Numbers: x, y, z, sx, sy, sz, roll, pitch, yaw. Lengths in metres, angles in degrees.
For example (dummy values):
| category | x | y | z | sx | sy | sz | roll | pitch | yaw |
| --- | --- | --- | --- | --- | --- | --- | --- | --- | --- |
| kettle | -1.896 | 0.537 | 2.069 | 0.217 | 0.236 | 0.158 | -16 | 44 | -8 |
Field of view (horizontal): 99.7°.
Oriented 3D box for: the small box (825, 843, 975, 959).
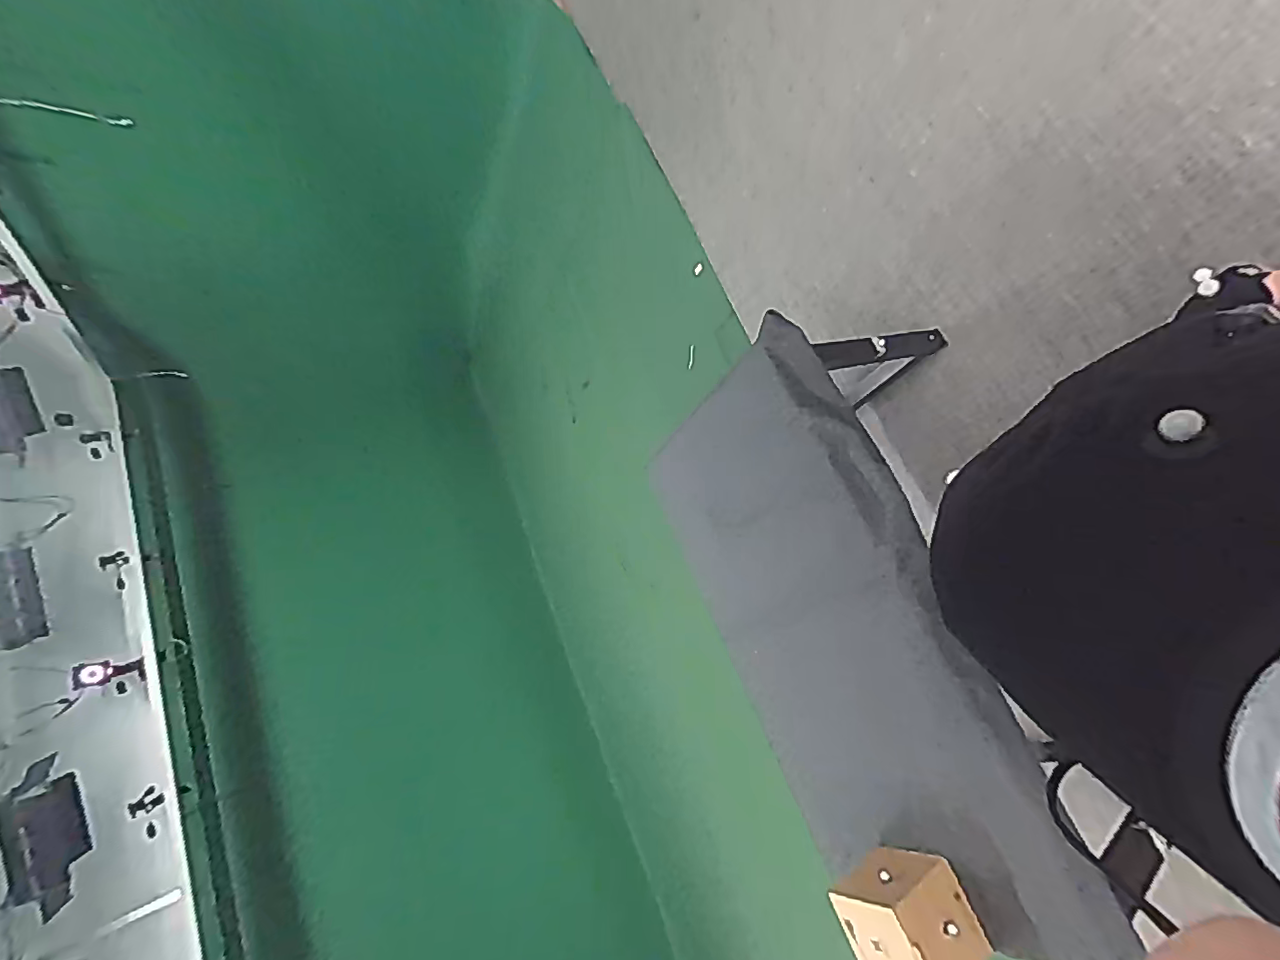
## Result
| category | x | y | z | sx | sy | sz | roll | pitch | yaw |
| --- | --- | --- | --- | --- | --- | --- | --- | --- | --- |
| small box | 0.503 | 0.833 | 1.039 | 0.179 | 0.176 | 0.168 | -47 | 61 | 53 |
